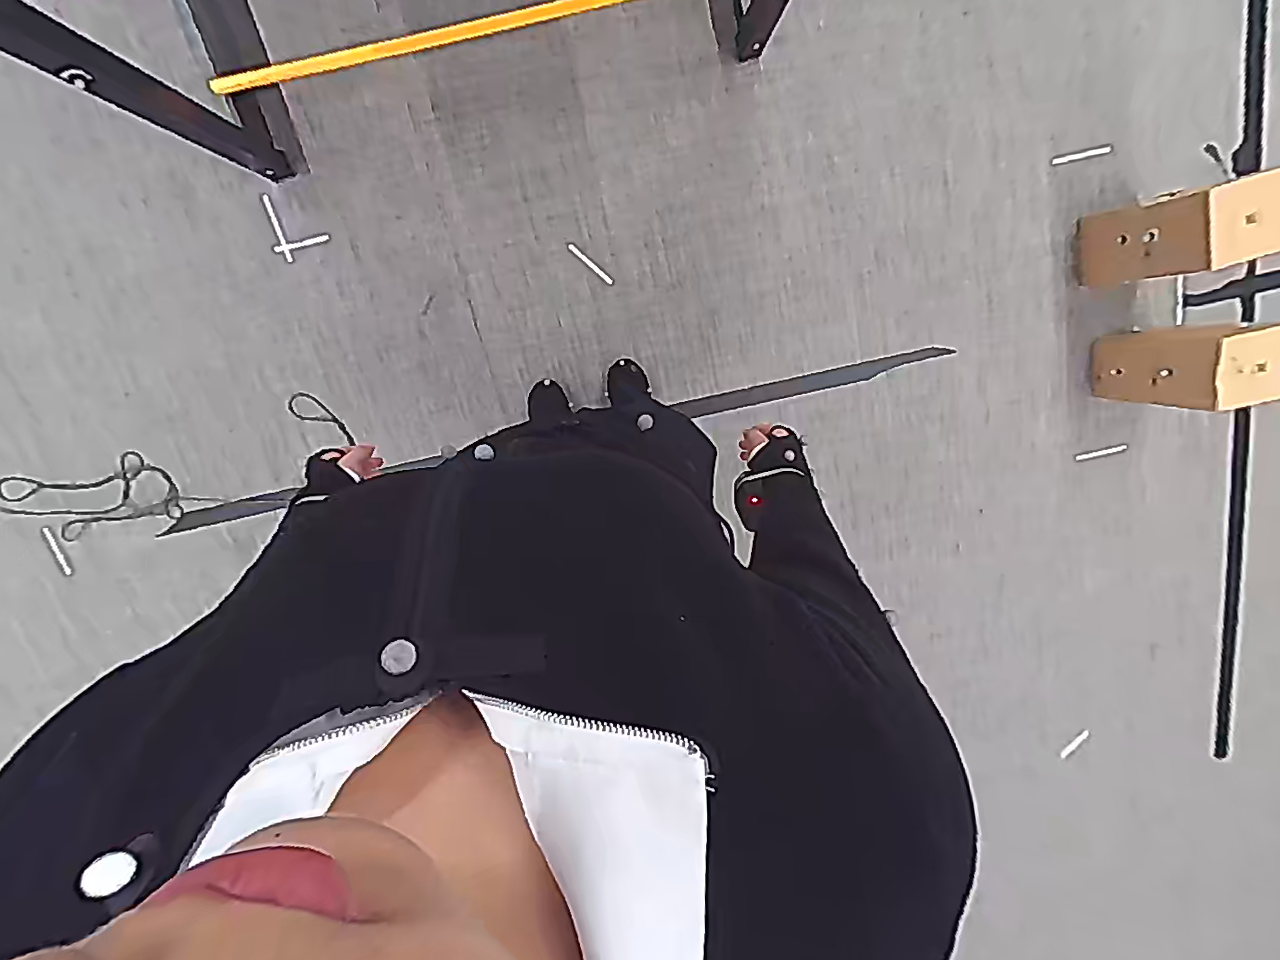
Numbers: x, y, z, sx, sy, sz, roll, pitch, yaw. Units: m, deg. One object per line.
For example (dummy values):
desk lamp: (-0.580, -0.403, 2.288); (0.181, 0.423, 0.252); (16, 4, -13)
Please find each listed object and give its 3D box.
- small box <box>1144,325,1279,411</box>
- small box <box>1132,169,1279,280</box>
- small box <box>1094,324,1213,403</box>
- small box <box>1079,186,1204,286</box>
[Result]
small box: (1.346, -0.267, 1.265); (0.179, 0.176, 0.168); (-12, 104, 0)
small box: (1.244, -0.553, 1.187); (0.179, 0.176, 0.168); (-17, 103, 3)
small box: (1.345, -0.307, 1.426); (0.179, 0.176, 0.168); (-13, 105, 1)
small box: (1.238, -0.598, 1.343); (0.168, 0.176, 0.179); (-15, 105, 1)
